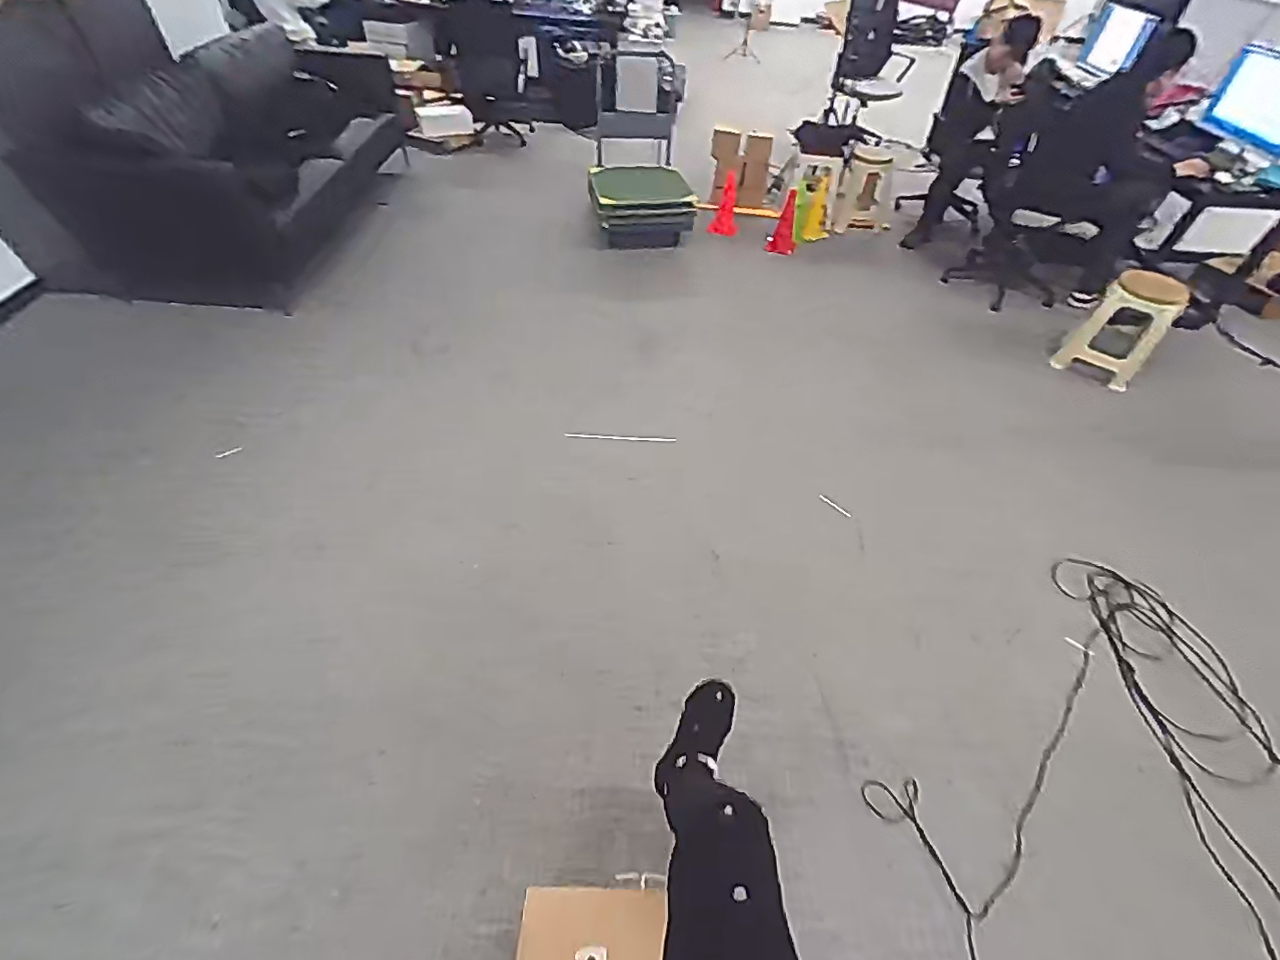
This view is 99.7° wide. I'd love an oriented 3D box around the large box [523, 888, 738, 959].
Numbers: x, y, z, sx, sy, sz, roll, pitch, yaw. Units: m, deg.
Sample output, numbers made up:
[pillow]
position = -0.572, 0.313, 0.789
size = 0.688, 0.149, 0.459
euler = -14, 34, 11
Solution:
[large box]
position = -0.020, 1.017, 1.069
size = 0.408, 0.320, 0.320
euler = 1, 47, -1
